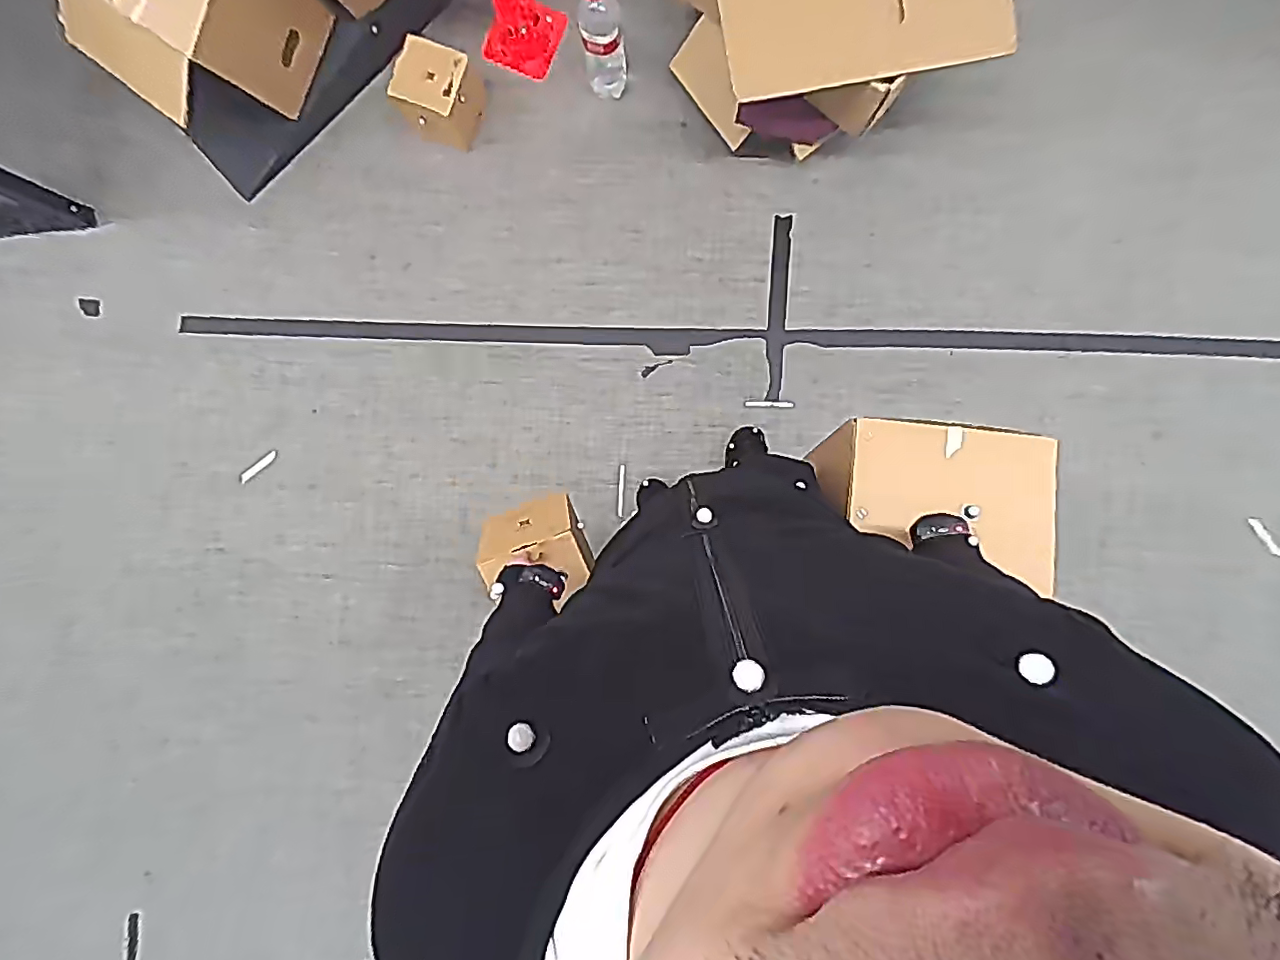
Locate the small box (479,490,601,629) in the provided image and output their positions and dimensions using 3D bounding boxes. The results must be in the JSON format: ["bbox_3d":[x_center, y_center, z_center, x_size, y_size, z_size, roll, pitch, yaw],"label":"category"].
[{"bbox_3d":[-0.178,0.149,0.992,0.168,0.179,0.176,-20,114,-2],"label":"small box"}]
